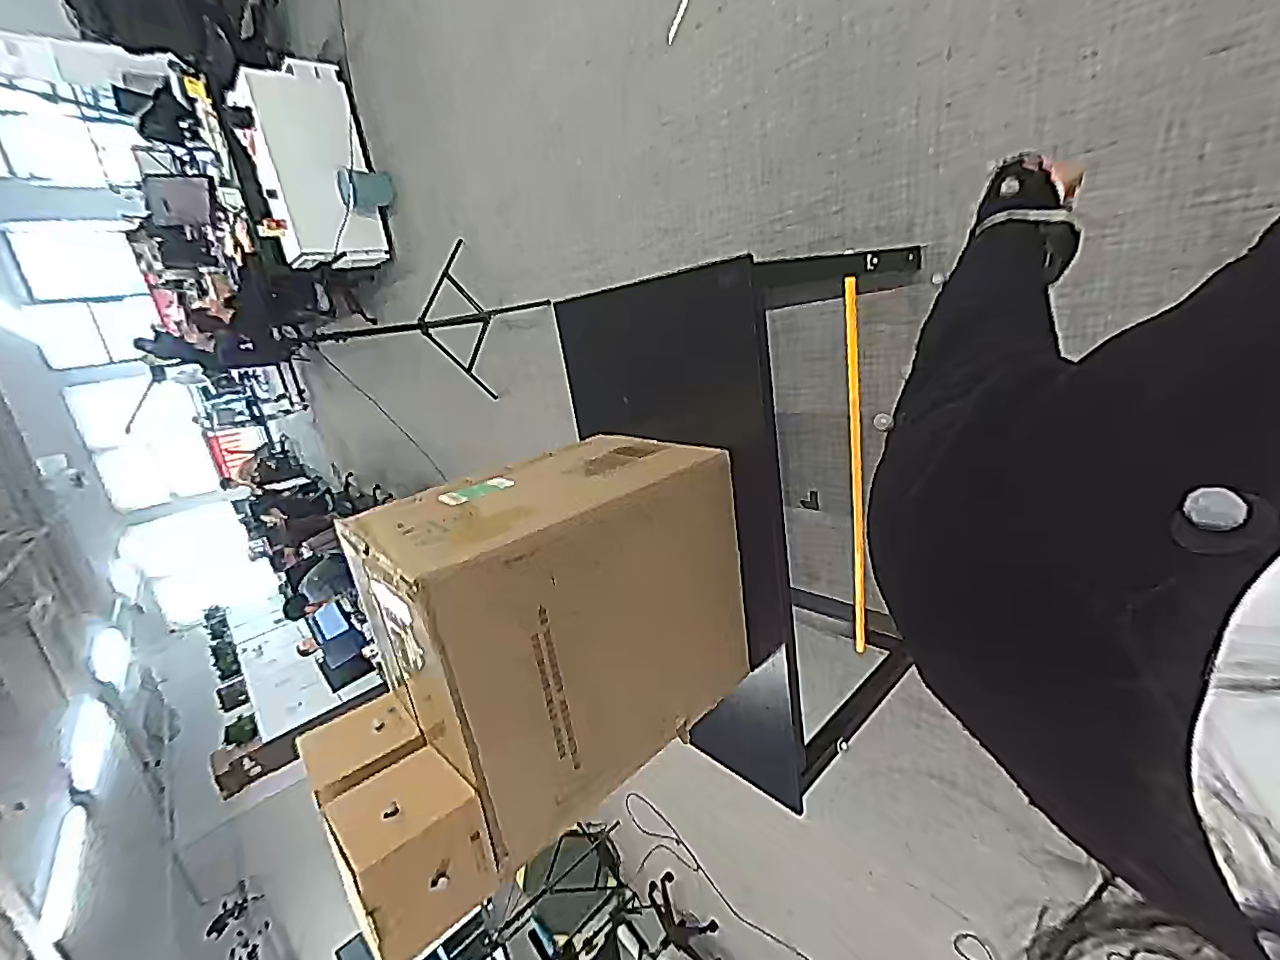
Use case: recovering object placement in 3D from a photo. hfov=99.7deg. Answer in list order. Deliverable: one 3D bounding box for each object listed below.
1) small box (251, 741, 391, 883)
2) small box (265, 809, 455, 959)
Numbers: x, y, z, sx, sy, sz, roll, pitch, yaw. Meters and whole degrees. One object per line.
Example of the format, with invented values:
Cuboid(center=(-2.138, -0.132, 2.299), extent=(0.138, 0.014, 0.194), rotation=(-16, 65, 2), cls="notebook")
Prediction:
Cuboid(center=(-0.501, 0.575, 0.882), extent=(0.168, 0.176, 0.179), rotation=(12, 116, 49), cls="small box")
Cuboid(center=(-0.366, 0.591, 0.726), extent=(0.179, 0.176, 0.168), rotation=(2, 106, 47), cls="small box")
